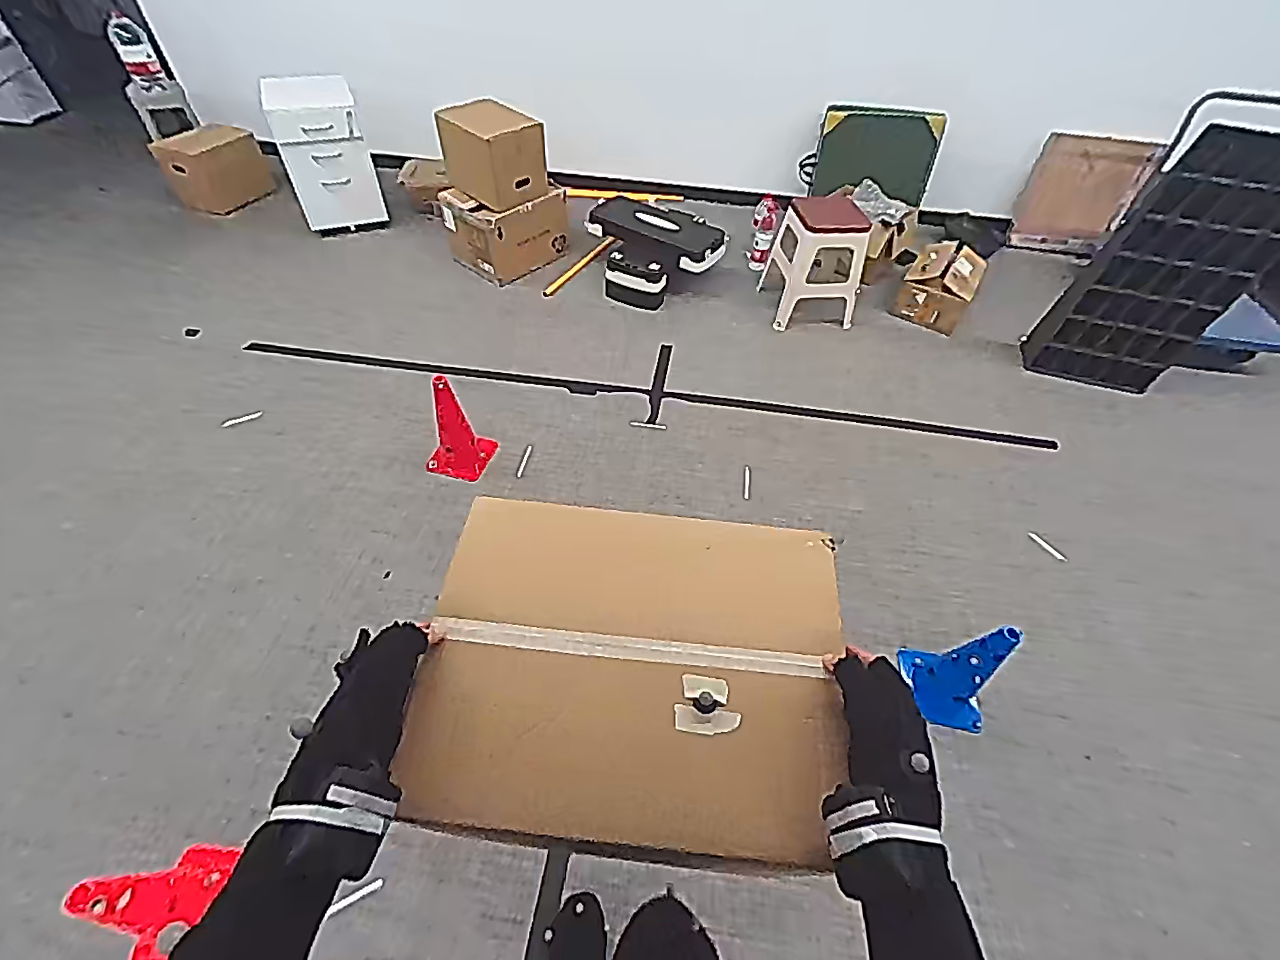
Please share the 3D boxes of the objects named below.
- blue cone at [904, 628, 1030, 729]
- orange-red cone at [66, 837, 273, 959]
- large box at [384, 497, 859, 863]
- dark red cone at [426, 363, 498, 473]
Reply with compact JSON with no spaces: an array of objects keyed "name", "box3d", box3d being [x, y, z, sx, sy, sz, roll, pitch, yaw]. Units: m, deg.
[{"name":"blue cone","box3d":[0.837,0.467,1.357,0.192,0.380,0.193,12,50,5]},{"name":"orange-red cone","box3d":[-0.889,0.760,0.987,0.198,0.360,0.199,6,51,3]},{"name":"large box","box3d":[-0.012,0.248,0.649,0.408,0.320,0.320,6,54,1]},{"name":"dark red cone","box3d":[-0.620,-0.219,1.800,0.201,0.394,0.202,14,51,7]}]
